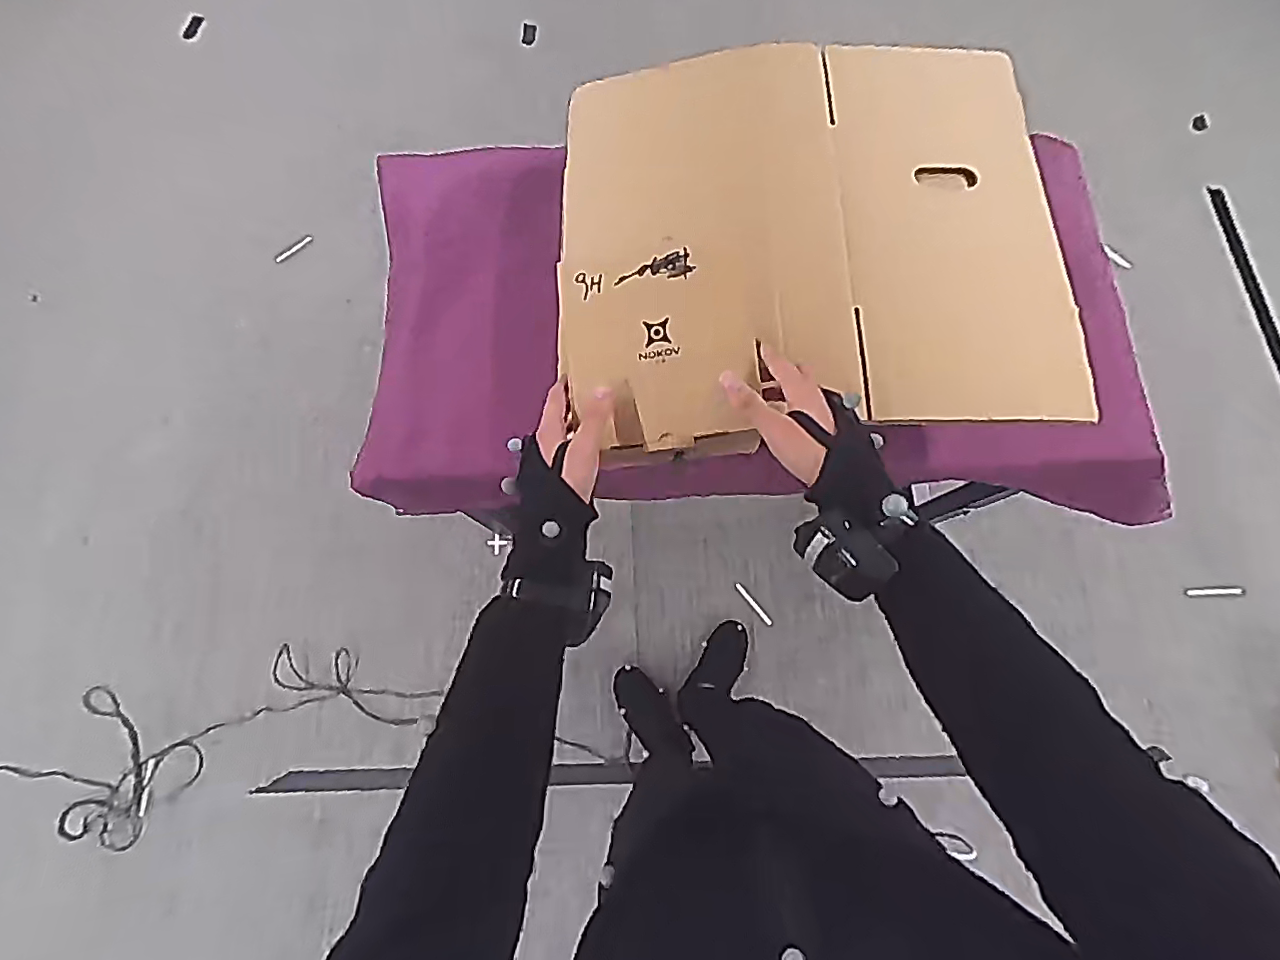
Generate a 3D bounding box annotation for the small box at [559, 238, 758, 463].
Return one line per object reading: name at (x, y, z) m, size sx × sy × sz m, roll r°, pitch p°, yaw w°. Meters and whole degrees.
small box at (0.028, -0.111, 0.549) m, size 0.168 × 0.176 × 0.179 m, roll -7°, pitch 87°, yaw 9°
